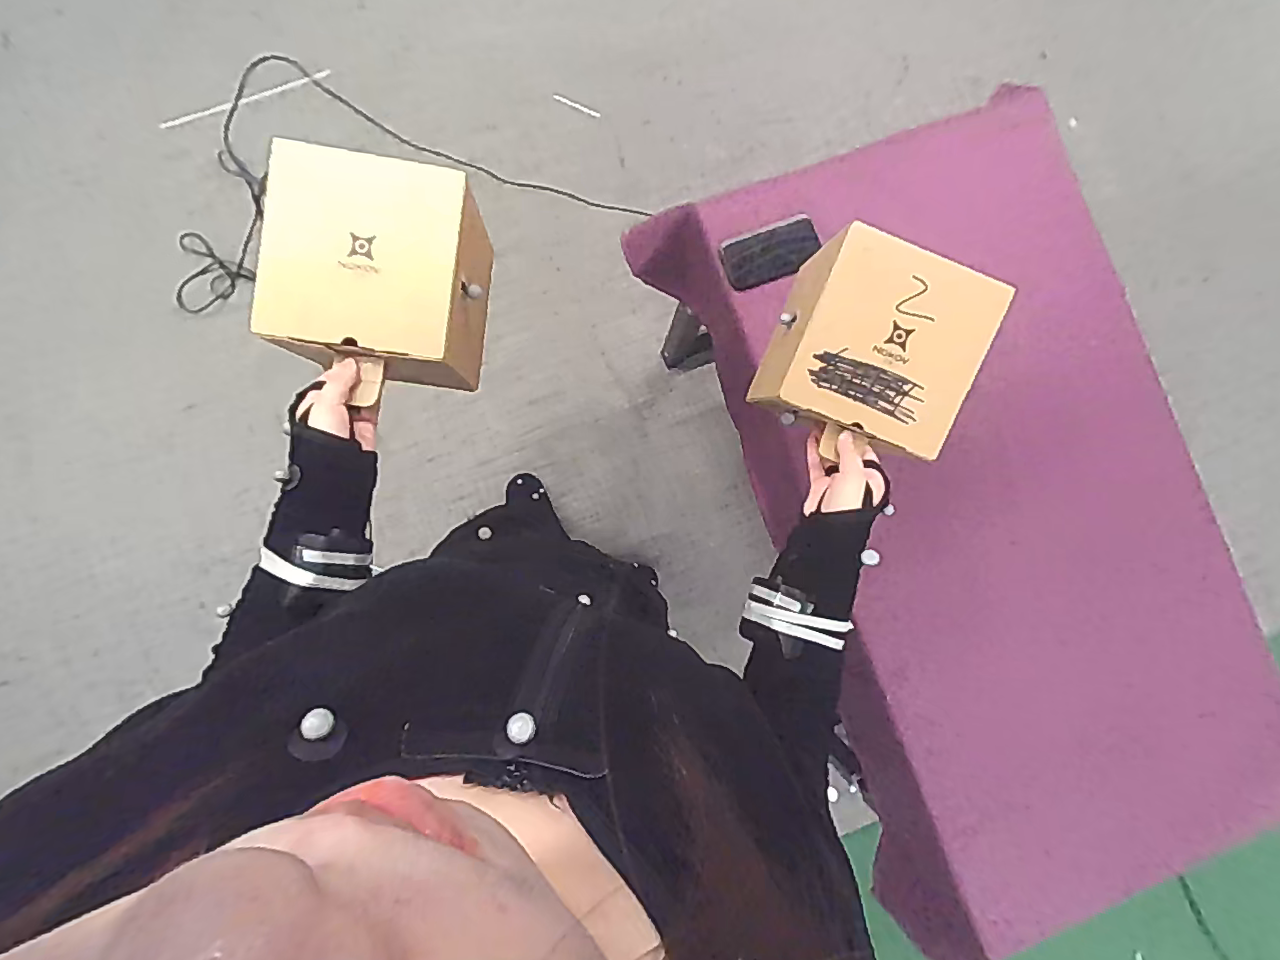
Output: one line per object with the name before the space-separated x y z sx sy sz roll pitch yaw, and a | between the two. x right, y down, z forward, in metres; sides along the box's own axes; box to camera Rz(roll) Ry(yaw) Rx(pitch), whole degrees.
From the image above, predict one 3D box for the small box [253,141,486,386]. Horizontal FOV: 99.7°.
small box | -0.262 -0.207 0.566 0.168 0.176 0.179 6 91 -7
